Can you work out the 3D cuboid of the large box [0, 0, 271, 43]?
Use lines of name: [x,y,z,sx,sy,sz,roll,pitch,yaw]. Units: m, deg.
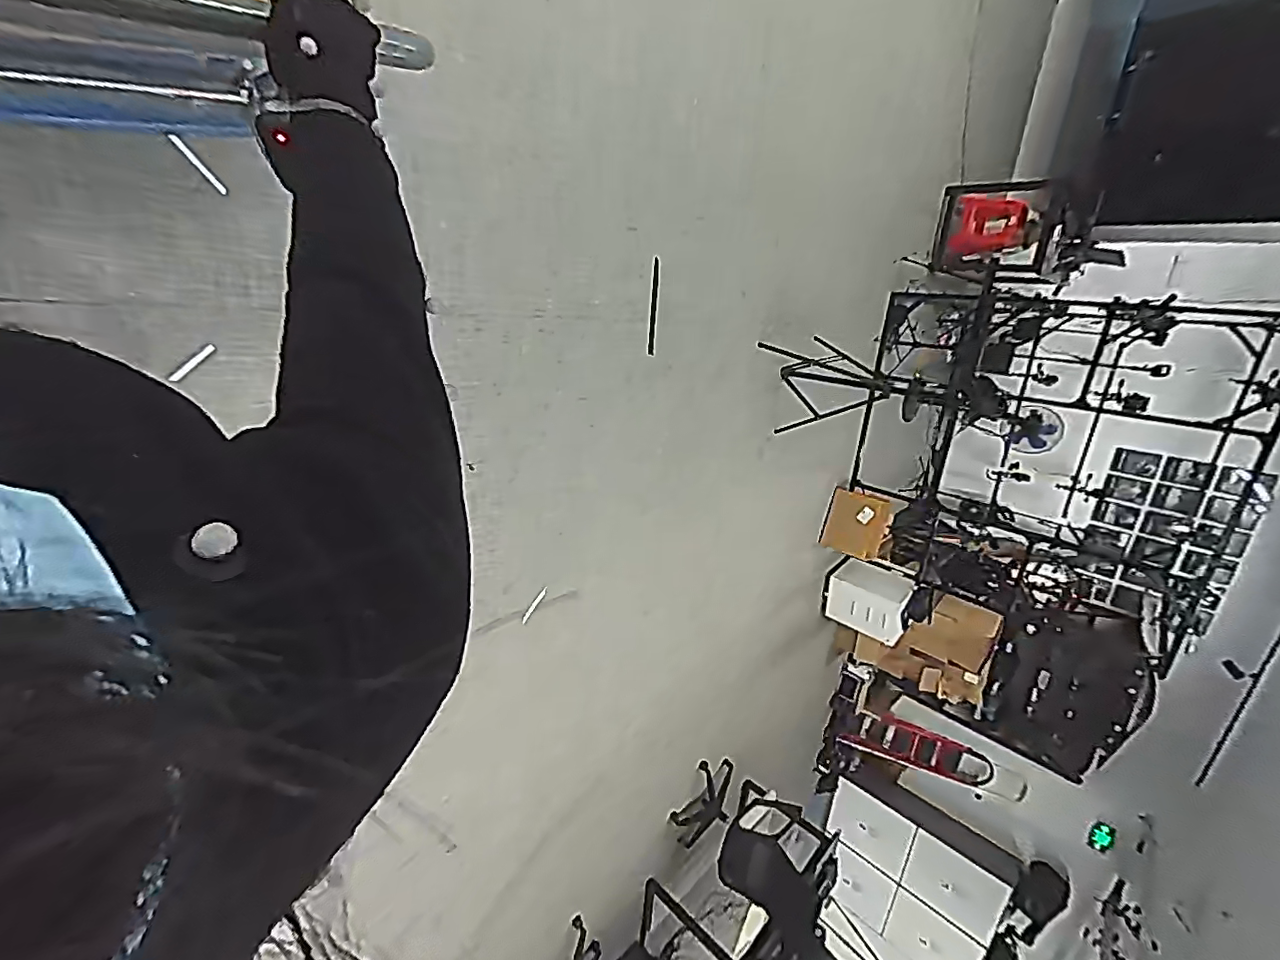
large box: [-0.757,-0.780,0.662,0.408,0.320,0.320,-31,128,-39]
